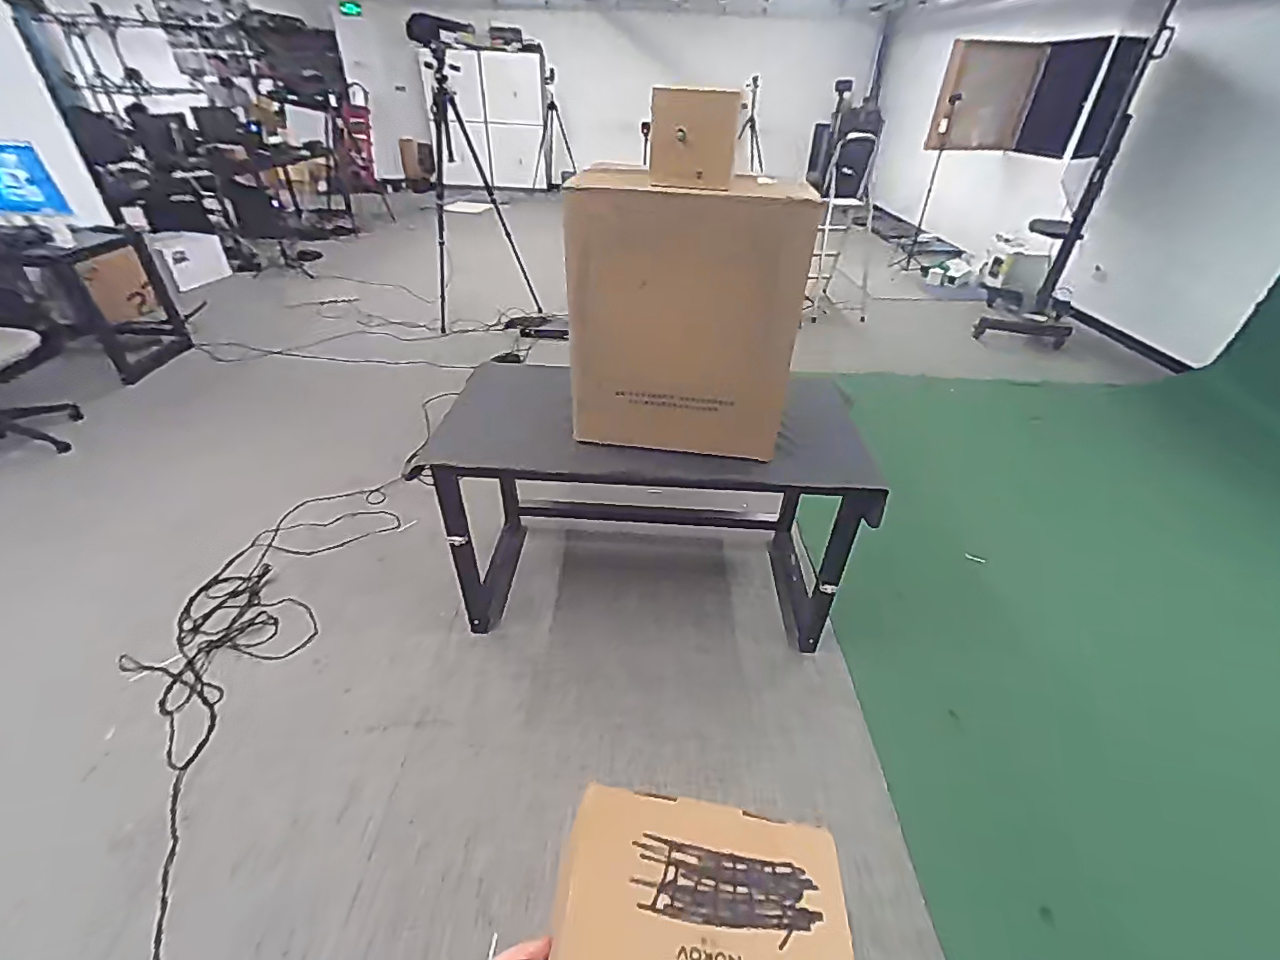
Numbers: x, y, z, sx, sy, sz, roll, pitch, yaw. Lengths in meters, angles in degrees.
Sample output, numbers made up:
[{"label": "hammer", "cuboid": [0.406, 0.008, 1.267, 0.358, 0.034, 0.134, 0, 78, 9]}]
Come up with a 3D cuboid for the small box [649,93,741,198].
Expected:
[{"label": "small box", "cuboid": [0.114, -0.693, 1.118, 0.168, 0.176, 0.179, 8, 38, 8]}]
